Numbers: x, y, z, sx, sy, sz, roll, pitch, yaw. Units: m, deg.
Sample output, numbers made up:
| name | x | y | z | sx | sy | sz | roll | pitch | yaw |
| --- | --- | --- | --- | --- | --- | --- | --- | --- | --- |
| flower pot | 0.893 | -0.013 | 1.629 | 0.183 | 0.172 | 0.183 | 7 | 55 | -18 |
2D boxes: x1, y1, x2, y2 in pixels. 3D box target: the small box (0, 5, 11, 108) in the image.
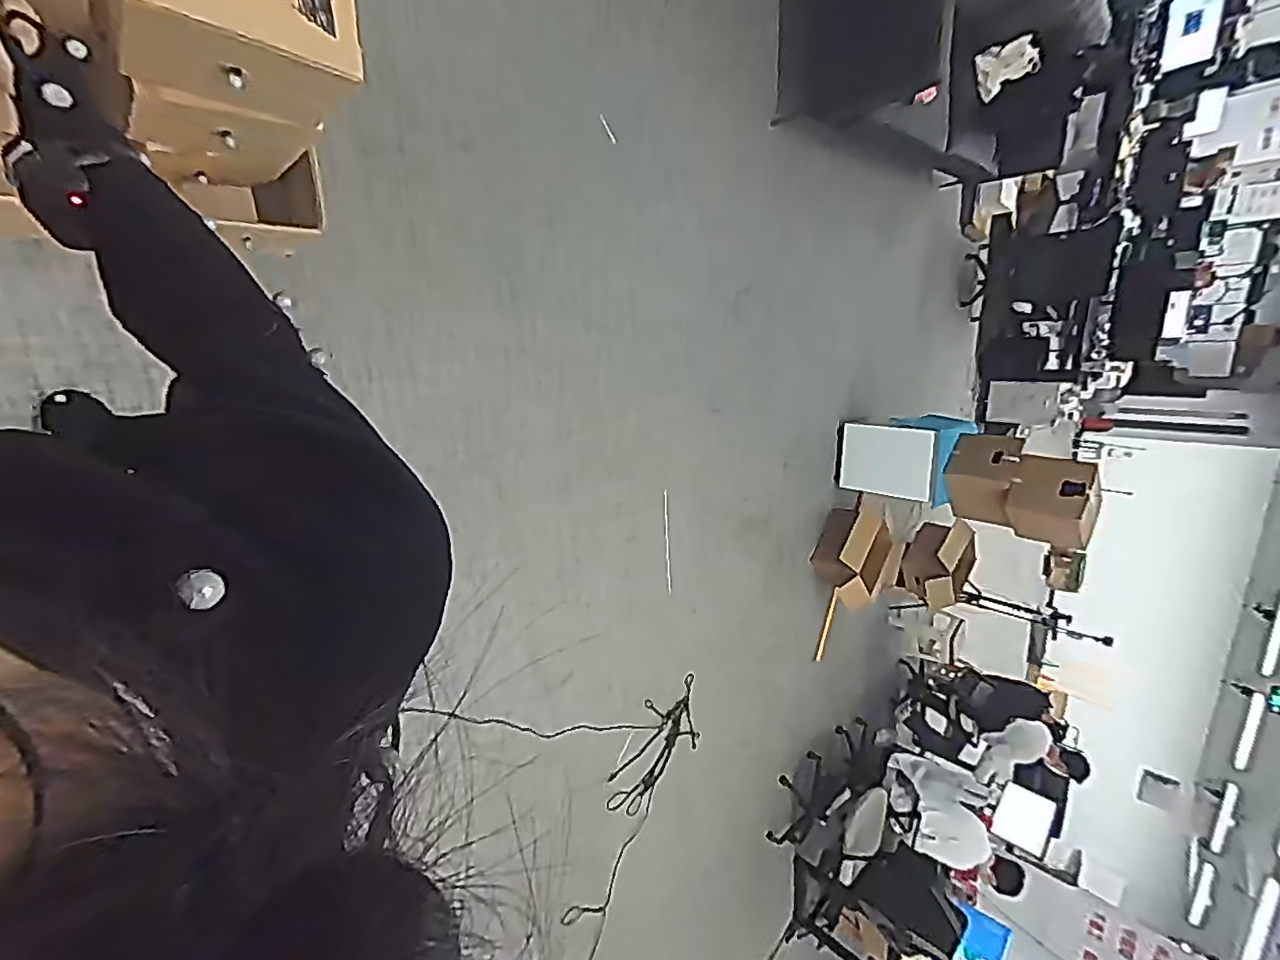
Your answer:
| name | x | y | z | sx | sy | sz | roll | pitch | yaw |
| --- | --- | --- | --- | --- | --- | --- | --- | --- | --- |
| small box | -0.634 | -0.411 | 0.412 | 0.179 | 0.176 | 0.168 | -20 | 103 | -46 |

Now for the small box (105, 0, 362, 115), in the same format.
| name | x | y | z | sx | sy | sz | roll | pitch | yaw |
| --- | --- | --- | --- | --- | --- | --- | --- | --- | --- |
| small box | -0.384 | -0.475 | 0.507 | 0.179 | 0.176 | 0.168 | -9 | 106 | -43 |
